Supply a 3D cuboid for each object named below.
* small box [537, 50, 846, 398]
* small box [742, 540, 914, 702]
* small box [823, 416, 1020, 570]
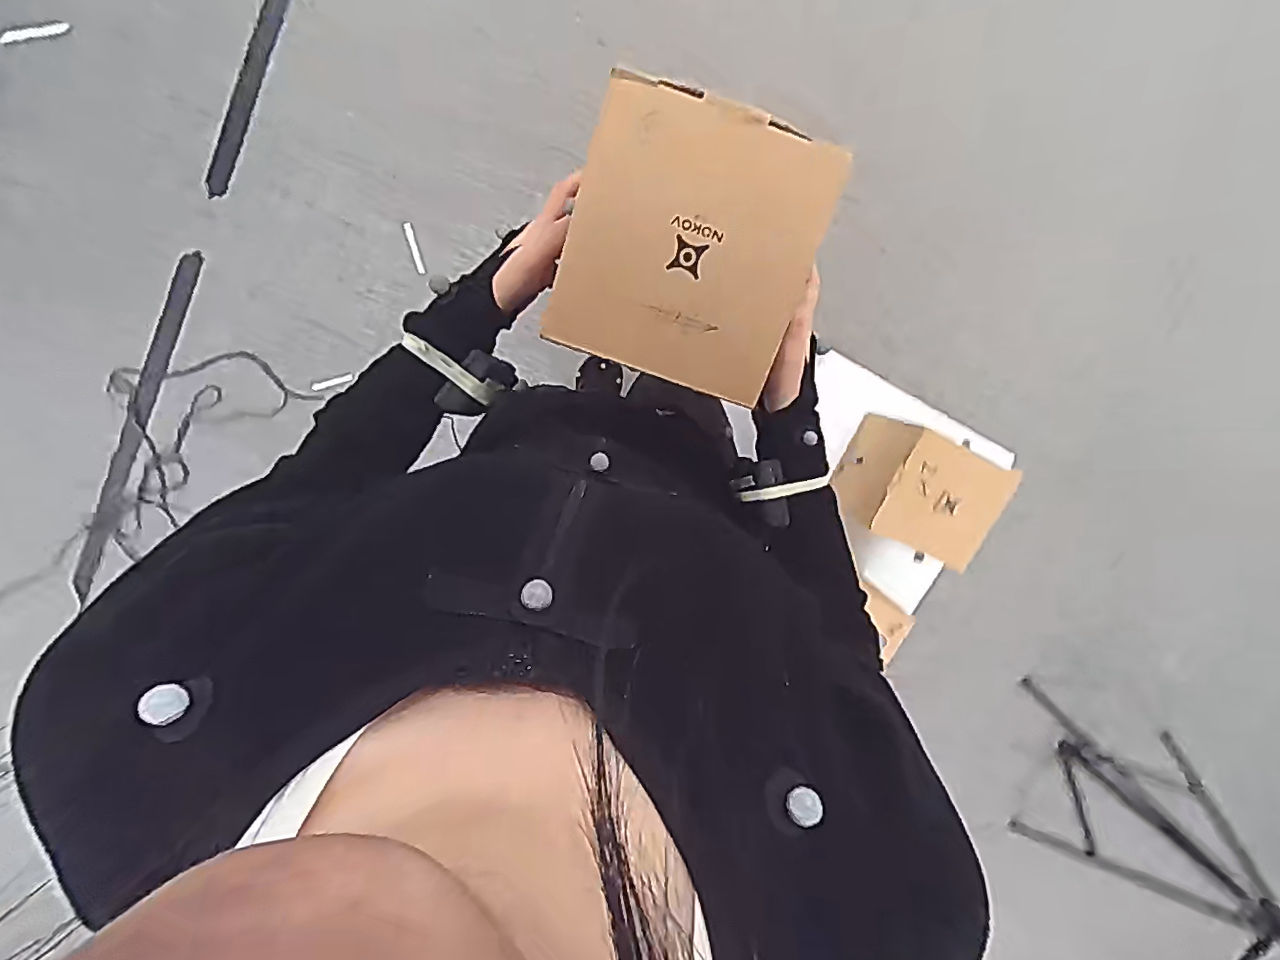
[{"bbox_3d":[0.031,-0.188,0.437,0.168,0.176,0.179,18,110,-4],"label":"small box"},{"bbox_3d":[0.291,0.217,0.885,0.179,0.176,0.168,28,100,-10],"label":"small box"},{"bbox_3d":[0.424,0.010,0.845,0.179,0.176,0.168,24,100,-10],"label":"small box"}]
